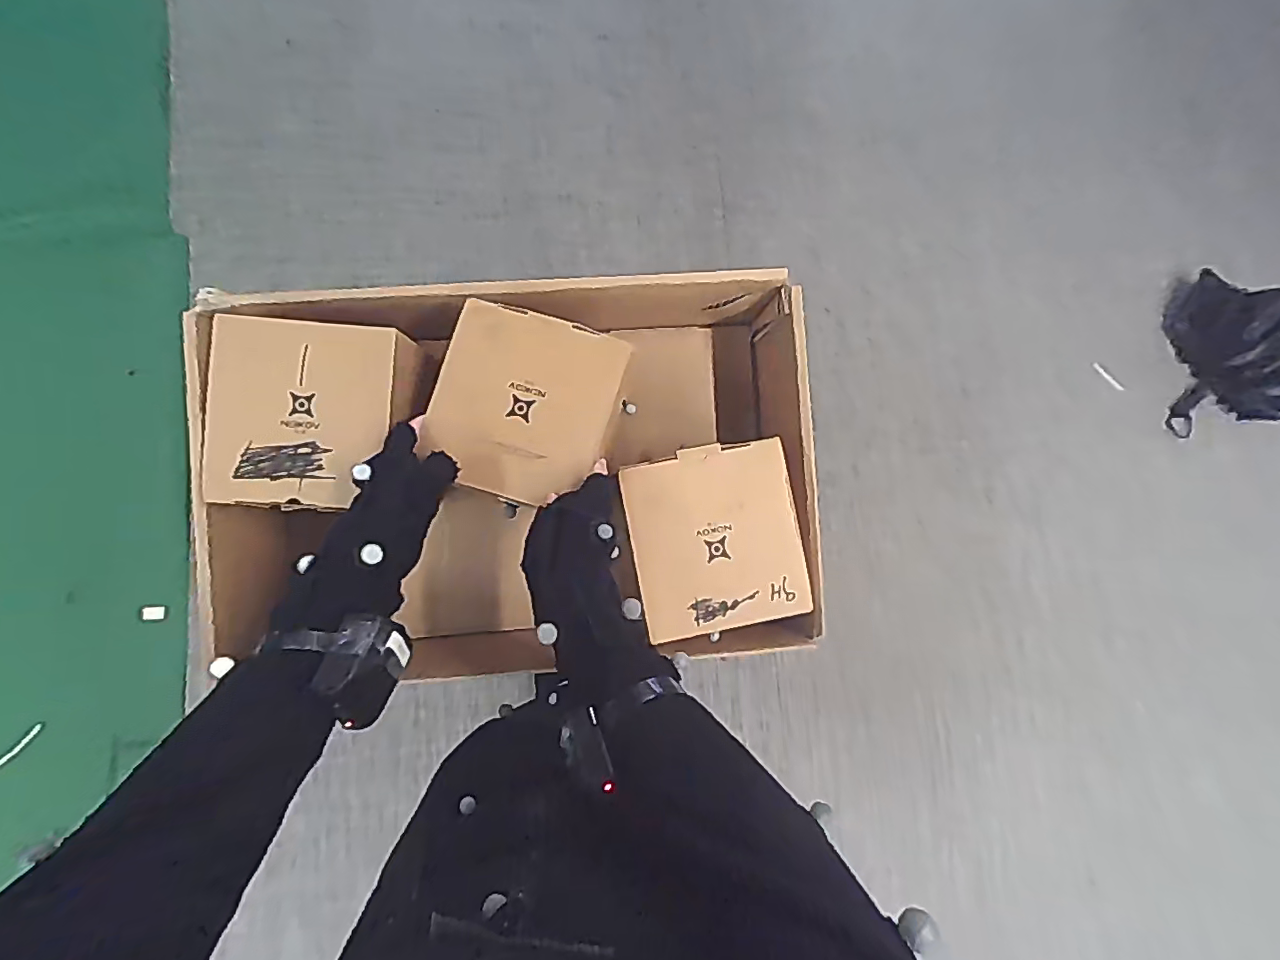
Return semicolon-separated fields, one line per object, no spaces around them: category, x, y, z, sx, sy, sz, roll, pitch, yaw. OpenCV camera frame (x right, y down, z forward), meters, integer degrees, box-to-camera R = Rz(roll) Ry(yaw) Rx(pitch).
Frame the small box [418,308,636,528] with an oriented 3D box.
small box;-0.106;-0.053;0.586;0.168;0.176;0.179;15;84;3
